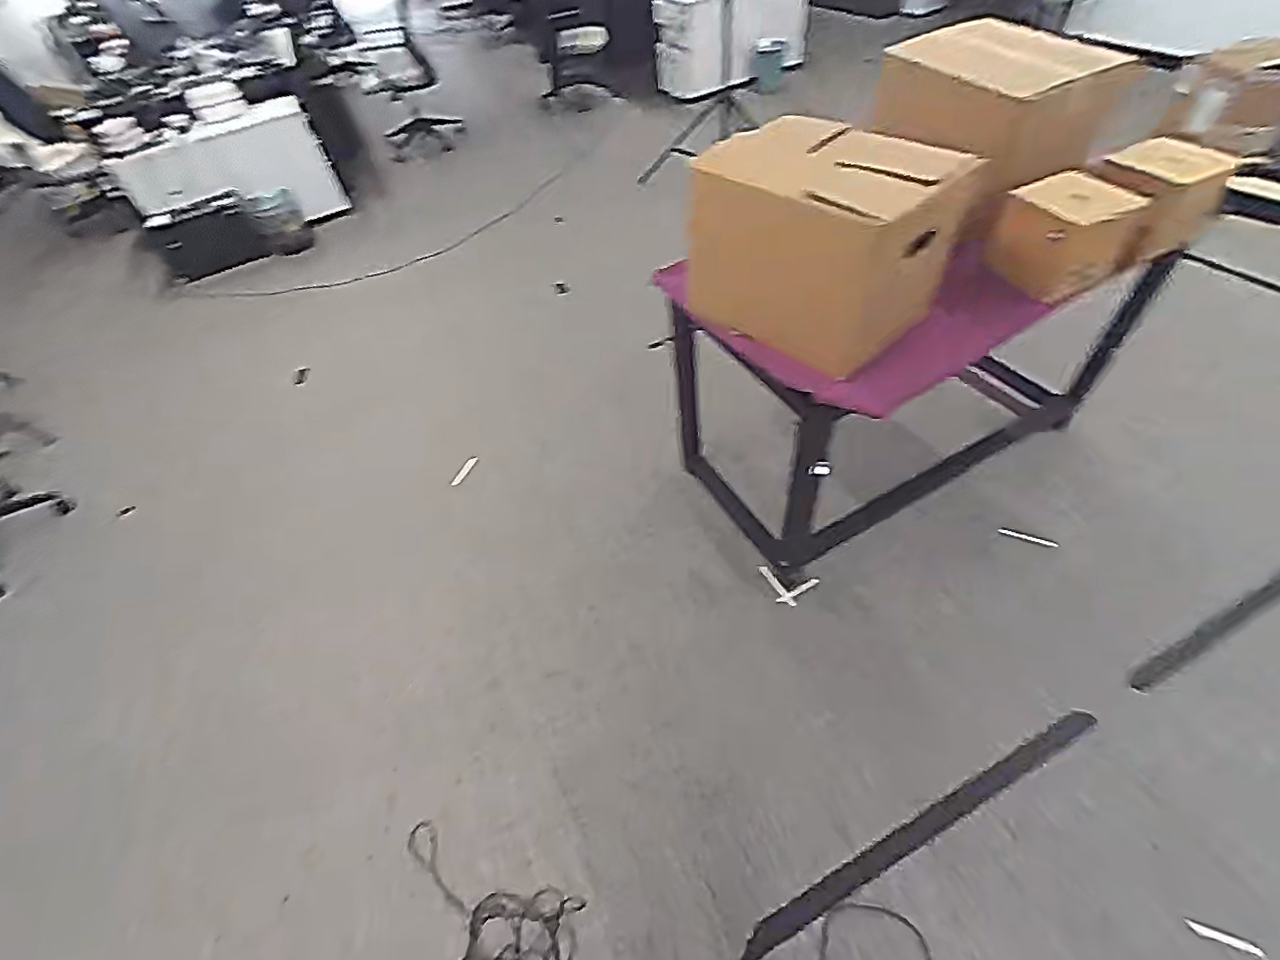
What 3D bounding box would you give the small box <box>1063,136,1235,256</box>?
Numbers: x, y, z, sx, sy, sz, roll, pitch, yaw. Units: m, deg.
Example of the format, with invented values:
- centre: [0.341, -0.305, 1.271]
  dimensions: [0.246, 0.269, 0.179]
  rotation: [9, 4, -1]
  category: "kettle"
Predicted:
- centre: [1.087, -0.610, 1.172]
  dimensions: [0.168, 0.176, 0.179]
  rotation: [-23, 51, -11]
  category: "small box"
